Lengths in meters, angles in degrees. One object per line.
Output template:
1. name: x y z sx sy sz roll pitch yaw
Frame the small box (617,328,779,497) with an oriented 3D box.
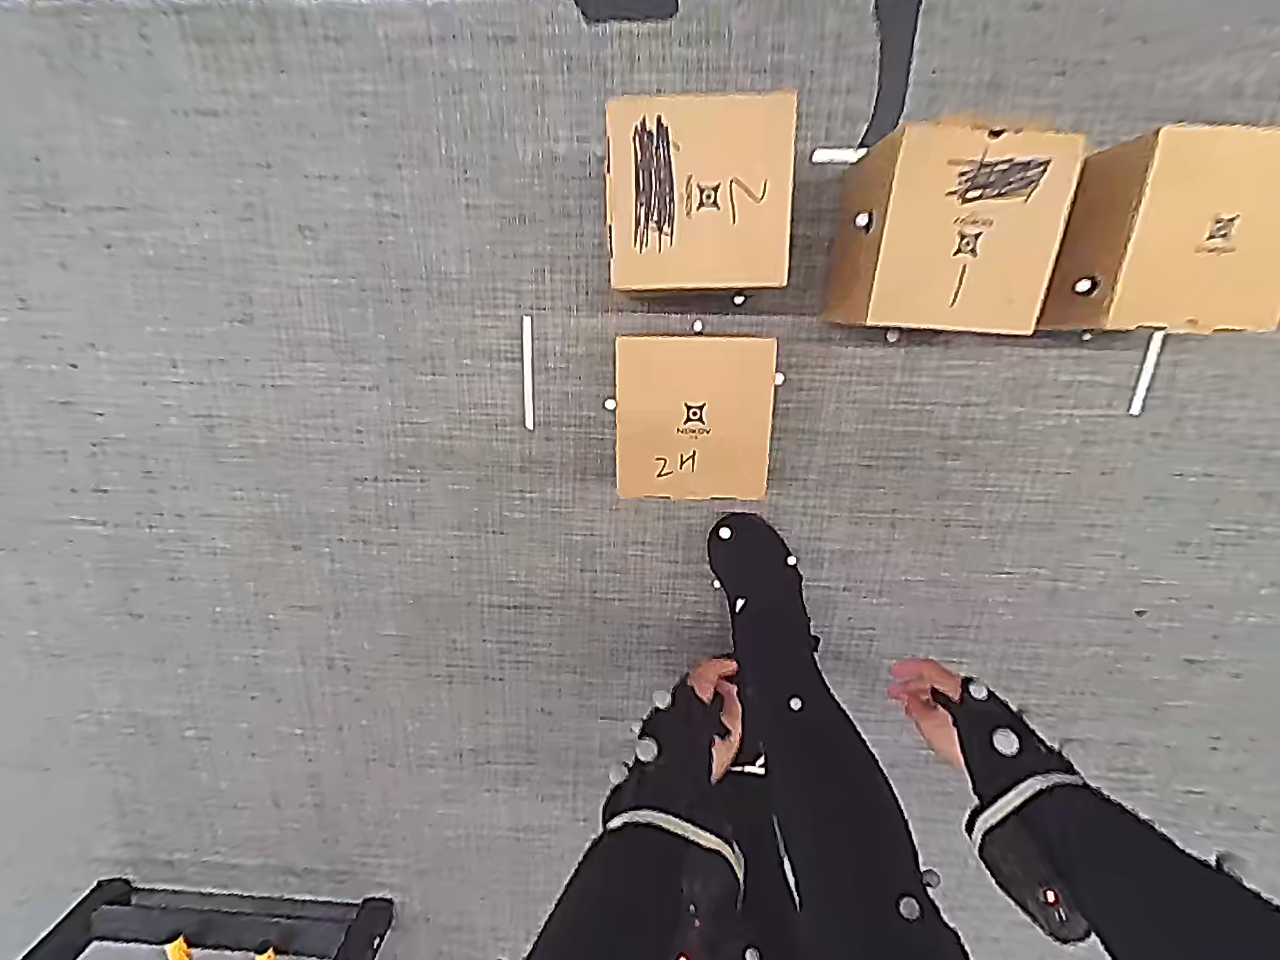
1. small box: 0.060 -0.089 0.643 0.168 0.176 0.179 2 107 3

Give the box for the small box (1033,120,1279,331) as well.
1. small box: 0.539 -0.255 0.578 0.168 0.176 0.179 2 107 1

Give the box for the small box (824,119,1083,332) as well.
1. small box: 0.312 -0.257 0.584 0.168 0.176 0.179 5 108 1
